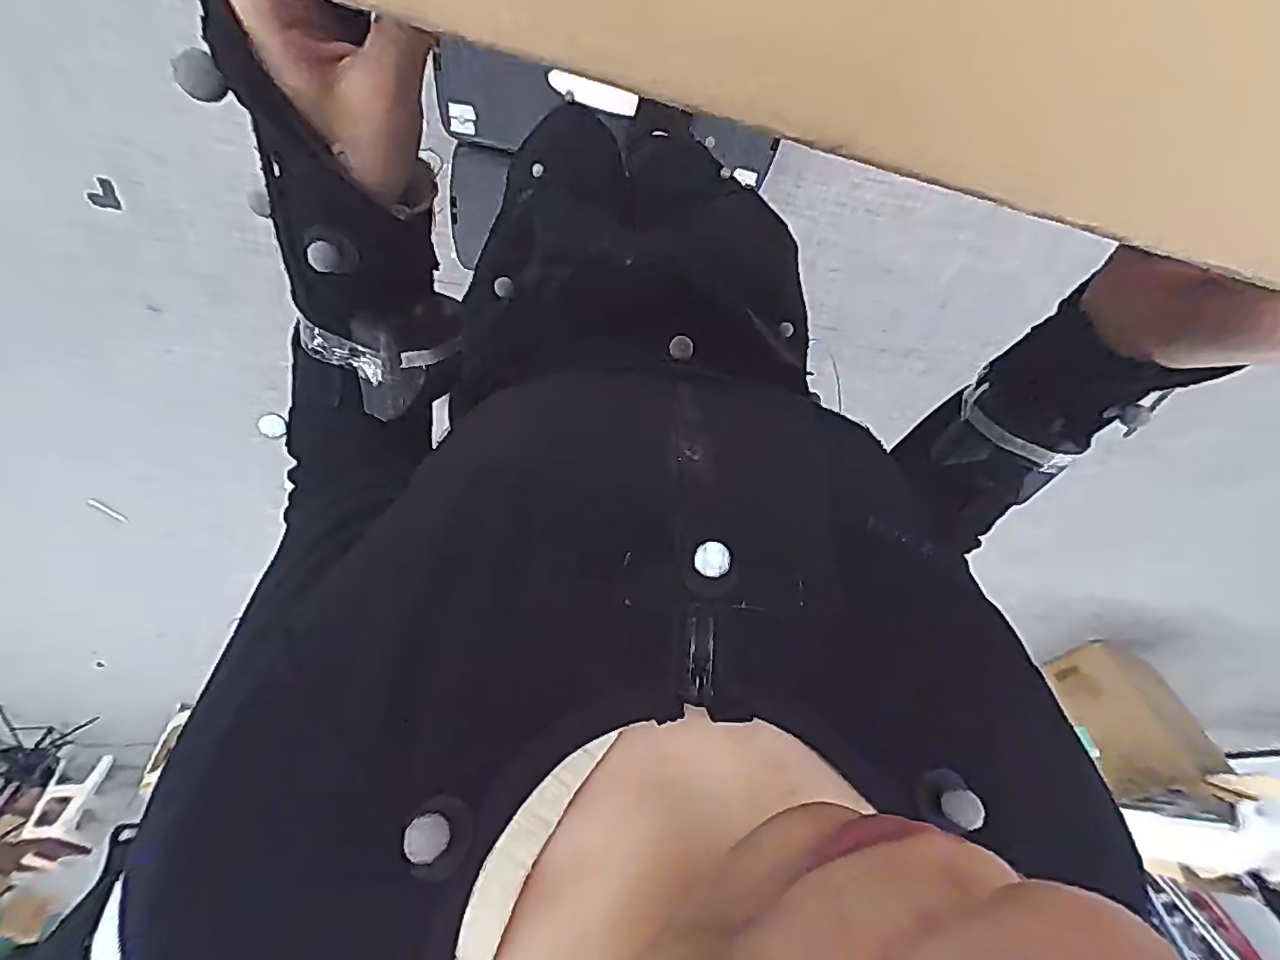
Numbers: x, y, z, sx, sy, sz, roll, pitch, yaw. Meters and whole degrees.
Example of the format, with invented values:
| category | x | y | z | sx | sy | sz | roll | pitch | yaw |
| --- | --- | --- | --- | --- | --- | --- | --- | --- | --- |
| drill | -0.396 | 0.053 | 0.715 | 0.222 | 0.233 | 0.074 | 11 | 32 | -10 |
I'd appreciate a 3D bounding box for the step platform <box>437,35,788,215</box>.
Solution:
| category | x | y | z | sx | sy | sz | roll | pitch | yaw |
| --- | --- | --- | --- | --- | --- | --- | --- | --- | --- |
| step platform | -0.040 | -0.775 | 1.072 | 0.684 | 0.204 | 0.286 | 11 | 131 | -12 |
